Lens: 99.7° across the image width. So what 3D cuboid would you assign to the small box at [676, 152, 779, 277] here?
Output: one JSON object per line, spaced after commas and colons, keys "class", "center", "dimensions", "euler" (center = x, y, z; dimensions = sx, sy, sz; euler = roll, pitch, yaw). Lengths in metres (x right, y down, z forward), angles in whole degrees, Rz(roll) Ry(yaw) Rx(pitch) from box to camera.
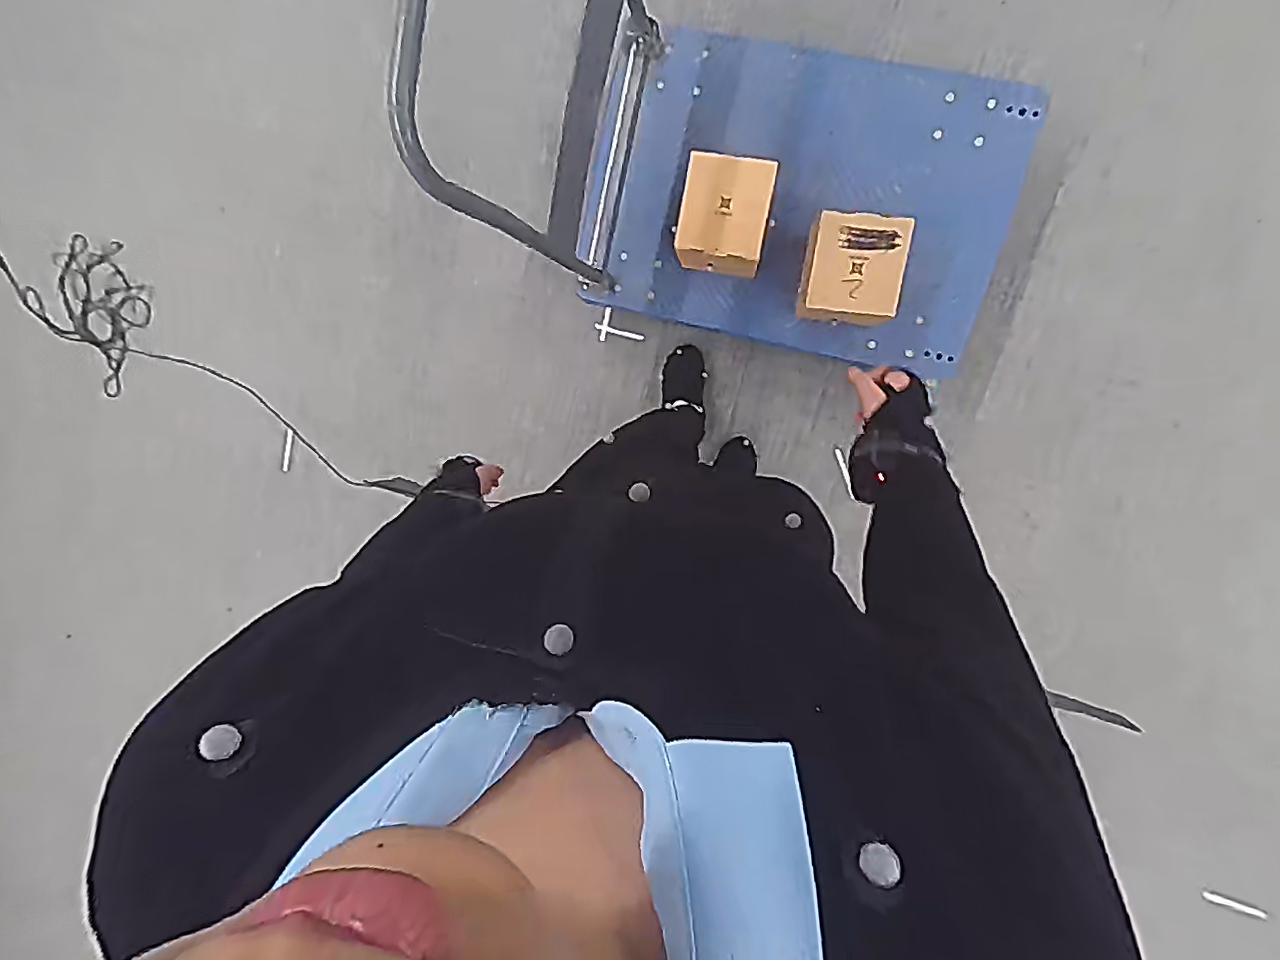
{"class": "small box", "center": [0.173, -0.529, 1.096], "dimensions": [0.168, 0.176, 0.179], "euler": [12, 102, 6]}
